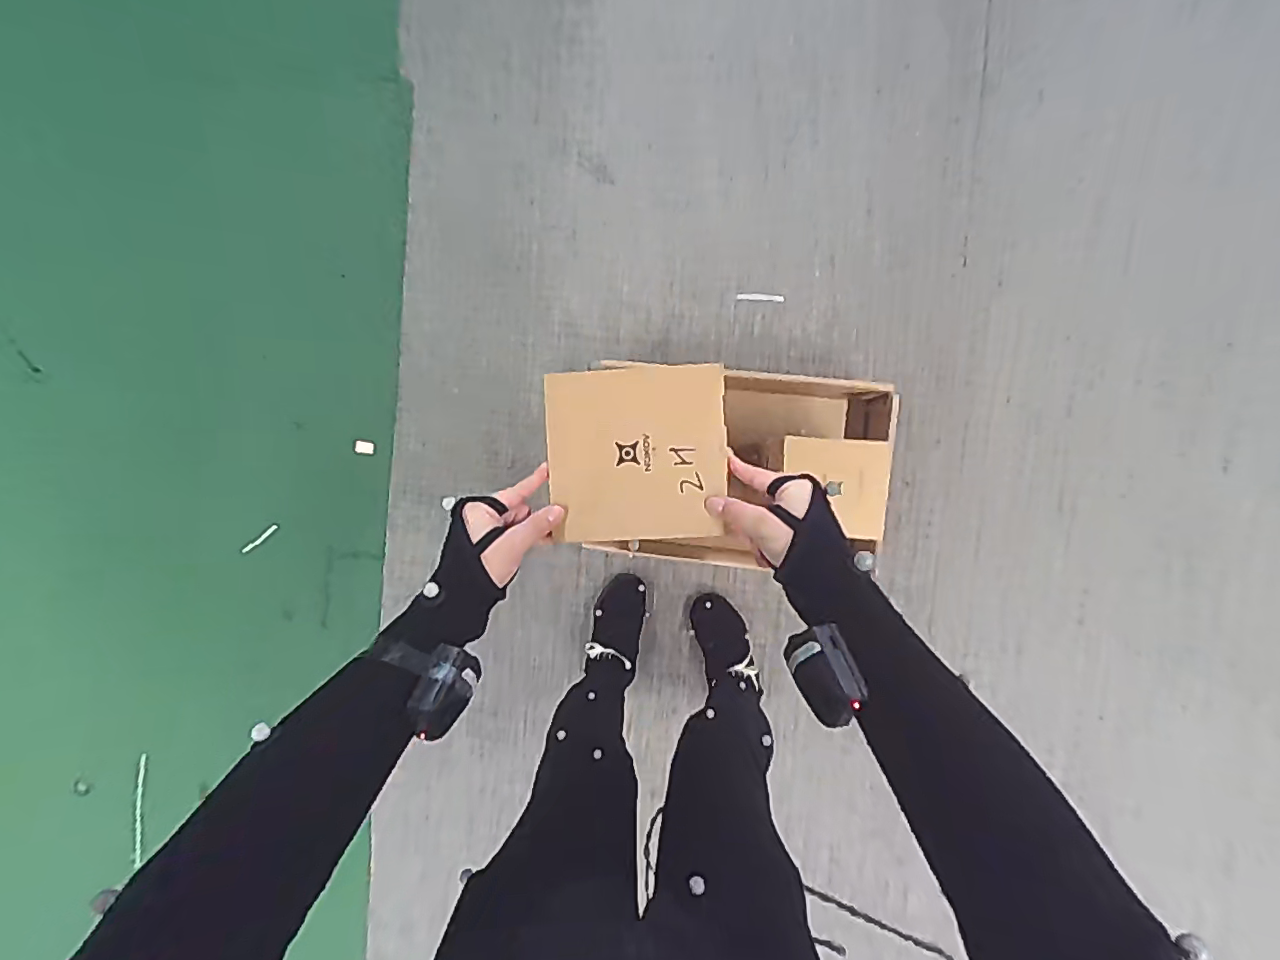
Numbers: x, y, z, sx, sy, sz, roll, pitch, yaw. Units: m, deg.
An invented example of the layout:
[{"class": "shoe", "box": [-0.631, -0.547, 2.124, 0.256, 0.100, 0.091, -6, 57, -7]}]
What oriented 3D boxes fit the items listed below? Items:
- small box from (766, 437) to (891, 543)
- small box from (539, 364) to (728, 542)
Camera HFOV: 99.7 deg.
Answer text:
[{"class": "small box", "box": [0.328, 0.014, 0.977, 0.179, 0.176, 0.168, 4, 93, 5]}, {"class": "small box", "box": [-0.001, -0.024, 0.588, 0.179, 0.176, 0.168, -3, 91, 3]}]
